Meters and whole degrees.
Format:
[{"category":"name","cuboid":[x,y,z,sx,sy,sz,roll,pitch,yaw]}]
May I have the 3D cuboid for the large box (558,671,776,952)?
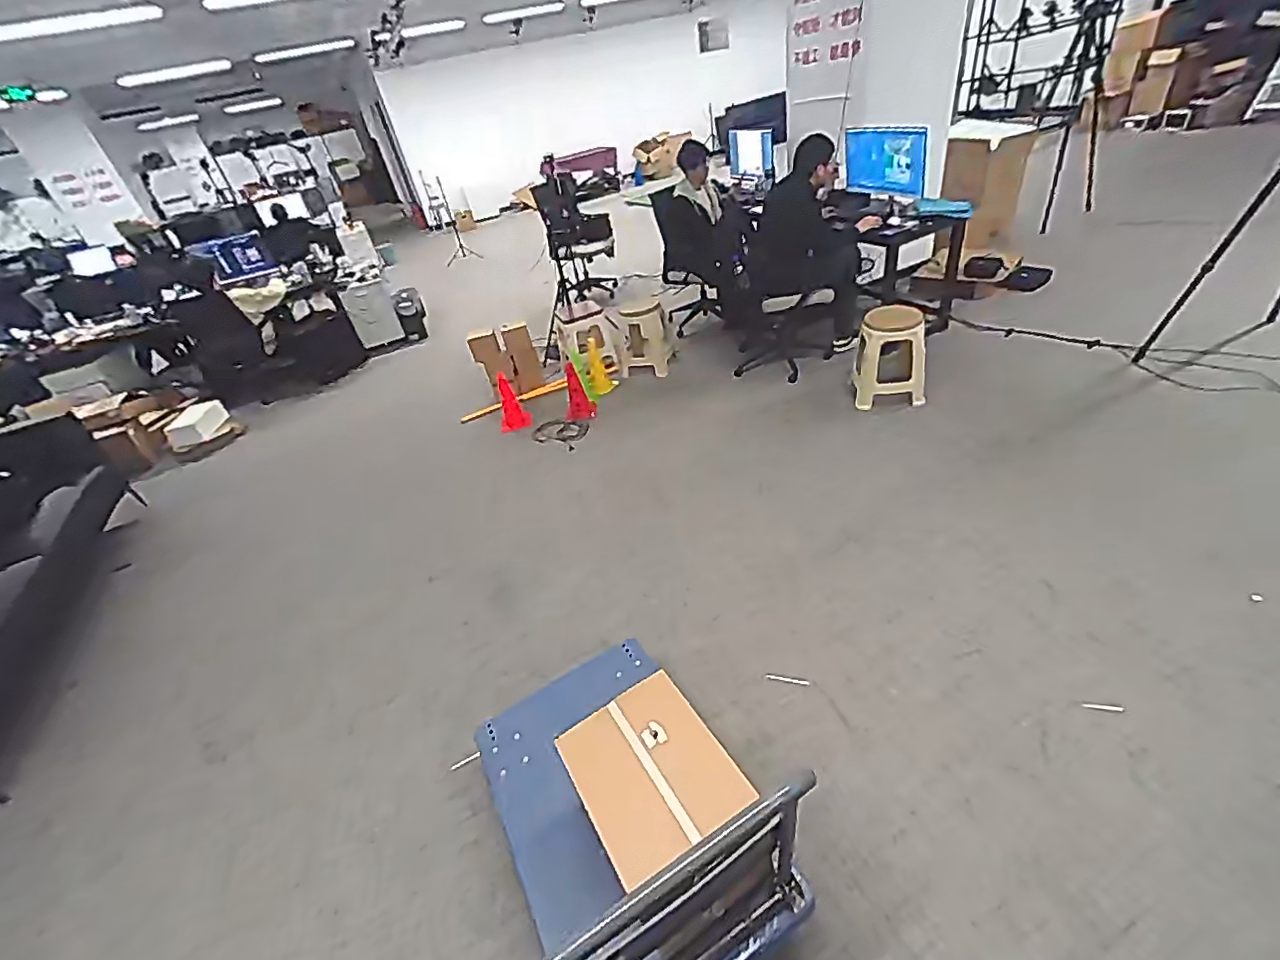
[{"category":"large box","cuboid":[0.063,0.751,1.264,0.320,0.320,0.408,-27,38,-19]}]
